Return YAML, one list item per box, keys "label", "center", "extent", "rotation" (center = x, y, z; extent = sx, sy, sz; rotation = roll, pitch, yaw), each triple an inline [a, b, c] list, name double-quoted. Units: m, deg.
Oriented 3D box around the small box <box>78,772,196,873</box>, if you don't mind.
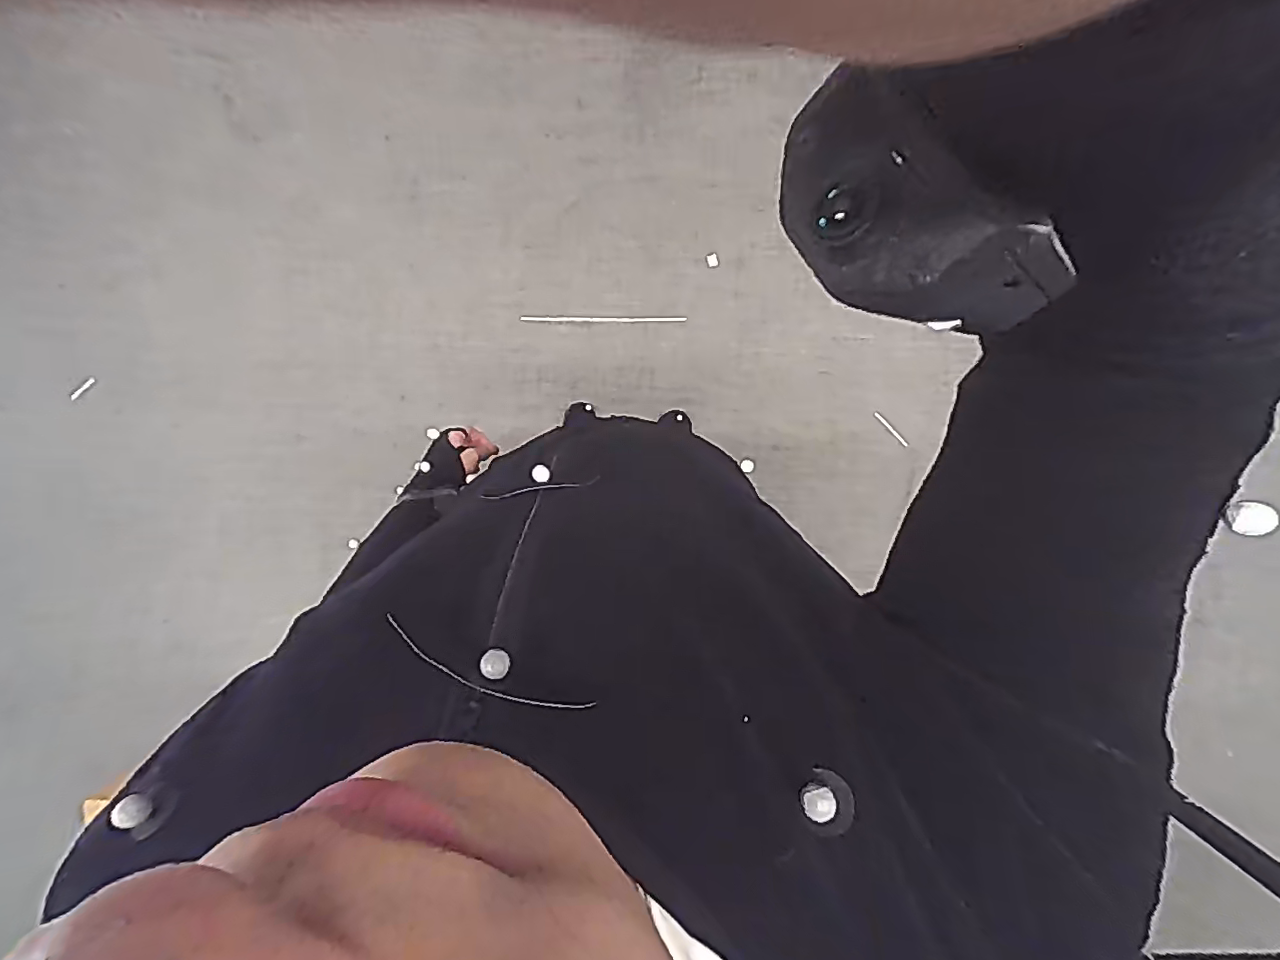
- label: "small box"
  center: [-1.366, 0.929, 1.479]
  extent: [0.168, 0.176, 0.179]
  rotation: [0, 97, 0]
